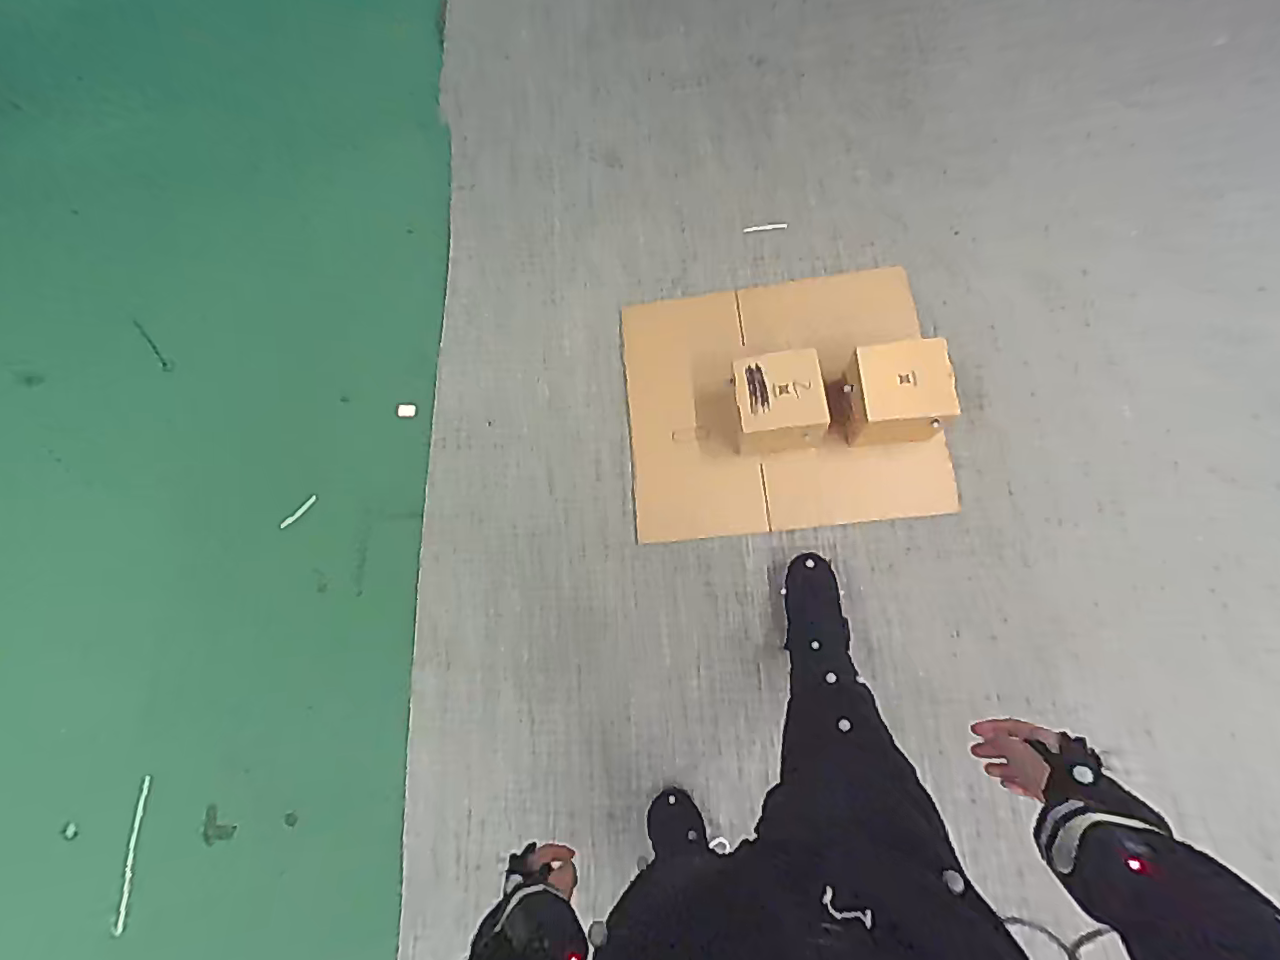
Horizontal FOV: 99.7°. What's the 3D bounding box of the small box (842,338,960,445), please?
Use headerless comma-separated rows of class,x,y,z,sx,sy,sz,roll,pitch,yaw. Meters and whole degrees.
small box,0.536,-0.178,1.138,0.179,0.176,0.168,-5,75,7
